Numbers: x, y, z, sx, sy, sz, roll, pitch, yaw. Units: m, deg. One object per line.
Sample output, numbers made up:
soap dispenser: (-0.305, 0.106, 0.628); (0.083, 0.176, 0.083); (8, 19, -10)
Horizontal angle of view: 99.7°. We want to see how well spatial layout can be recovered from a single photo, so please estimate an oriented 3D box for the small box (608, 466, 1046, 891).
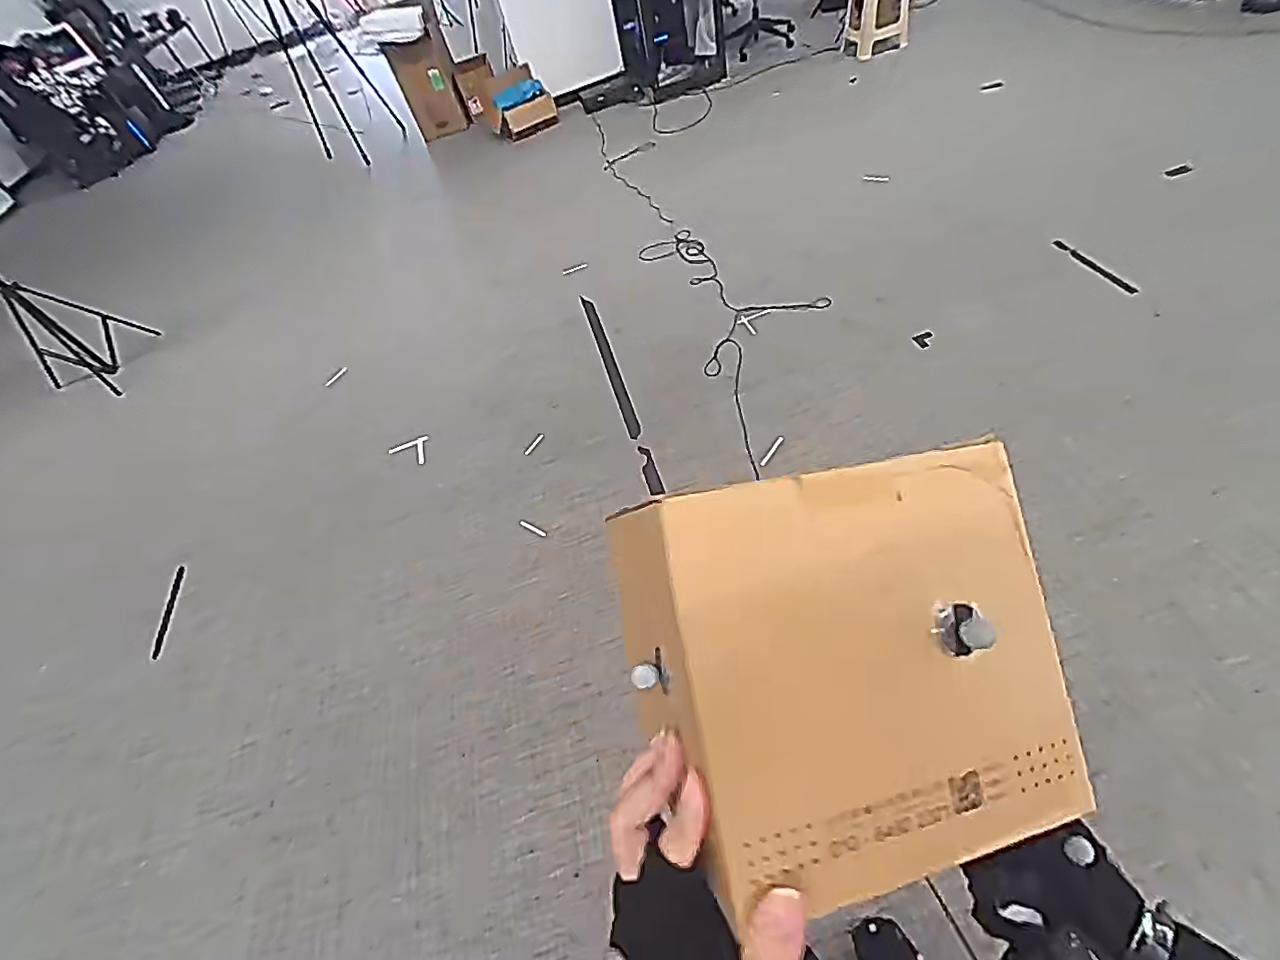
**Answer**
small box: (0.087, 0.099, 0.319); (0.168, 0.179, 0.176); (-9, 84, -14)
